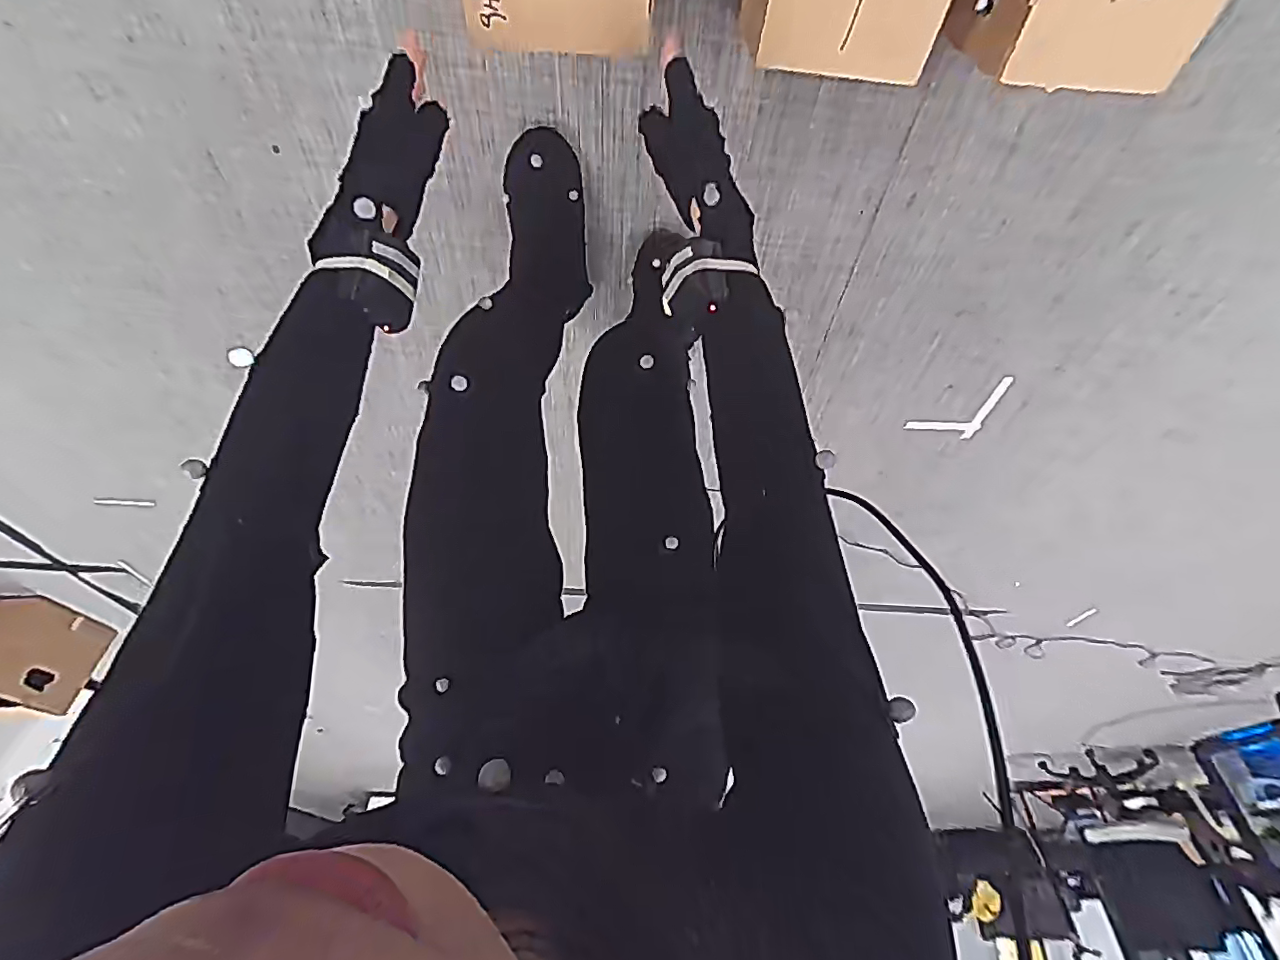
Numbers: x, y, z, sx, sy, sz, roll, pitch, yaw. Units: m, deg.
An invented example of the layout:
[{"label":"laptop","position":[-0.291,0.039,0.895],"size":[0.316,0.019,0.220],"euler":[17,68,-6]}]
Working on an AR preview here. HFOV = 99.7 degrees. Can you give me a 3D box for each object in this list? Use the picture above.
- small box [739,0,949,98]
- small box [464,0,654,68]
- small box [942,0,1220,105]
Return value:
[{"label":"small box","position":[0.199,-0.509,0.524],"size":[0.168,0.176,0.179],"euler":[4,142,-4]},{"label":"small box","position":[-0.074,-0.522,0.516],"size":[0.179,0.176,0.168],"euler":[1,141,-2]},{"label":"small box","position":[0.438,-0.500,0.533],"size":[0.179,0.176,0.168],"euler":[2,143,-2]}]
